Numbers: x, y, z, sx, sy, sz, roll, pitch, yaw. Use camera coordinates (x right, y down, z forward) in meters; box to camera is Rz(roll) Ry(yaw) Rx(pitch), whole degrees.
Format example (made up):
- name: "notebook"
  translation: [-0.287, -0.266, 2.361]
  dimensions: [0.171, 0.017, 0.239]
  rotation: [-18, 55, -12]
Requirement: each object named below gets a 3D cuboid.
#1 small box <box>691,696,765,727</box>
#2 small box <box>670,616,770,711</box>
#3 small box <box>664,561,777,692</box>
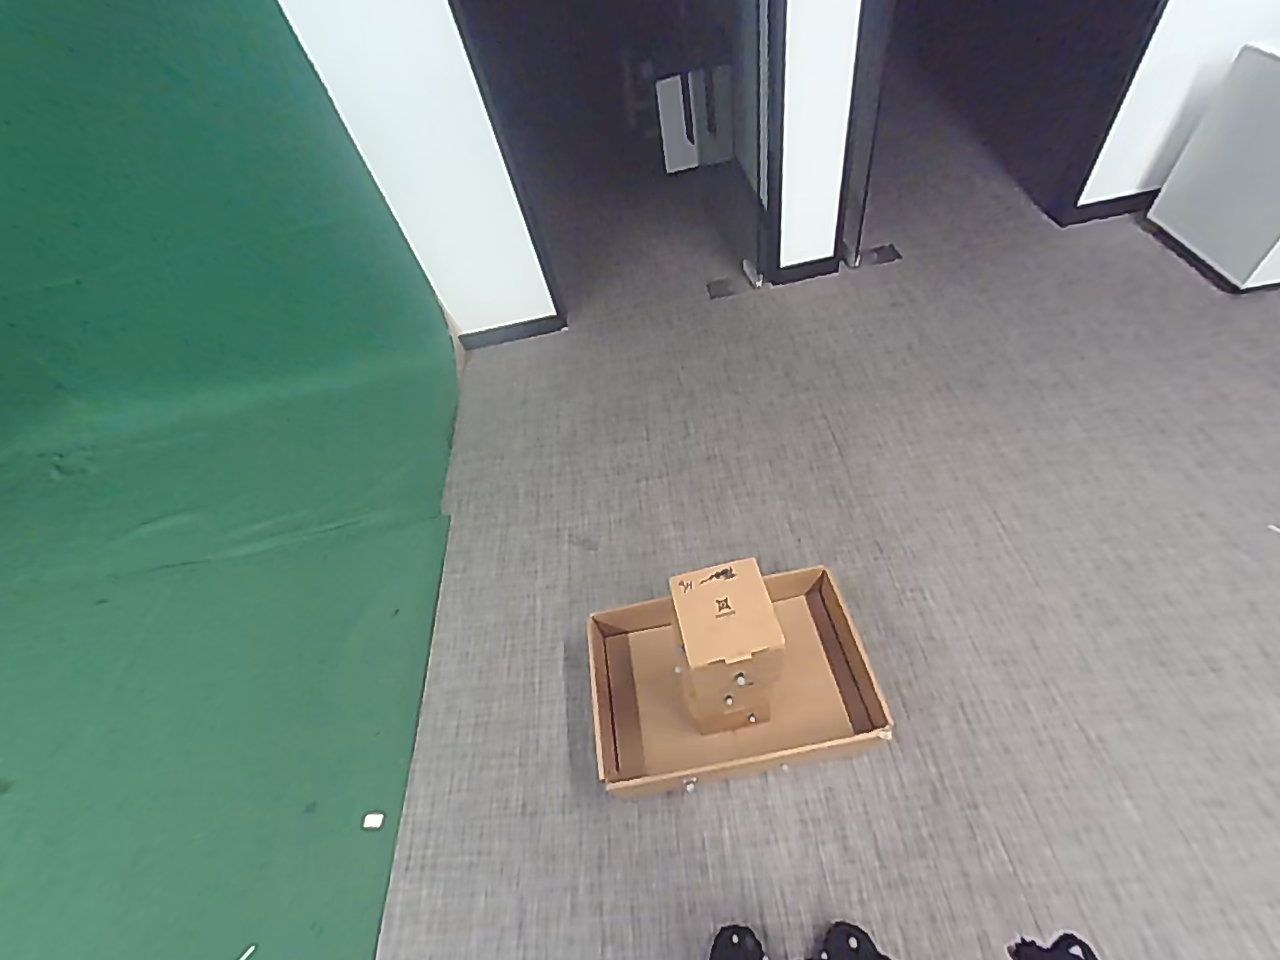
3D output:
- name: "small box"
  translation: [0.192, 0.466, 1.273]
  dimensions: [0.168, 0.176, 0.179]
  rotation: [-12, 50, 2]
- name: "small box"
  translation: [0.169, 0.380, 1.155]
  dimensions: [0.179, 0.176, 0.168]
  rotation: [-12, 50, 3]
- name: "small box"
  translation: [0.154, 0.285, 1.025]
  dimensions: [0.168, 0.176, 0.179]
  rotation: [-16, 50, 1]
